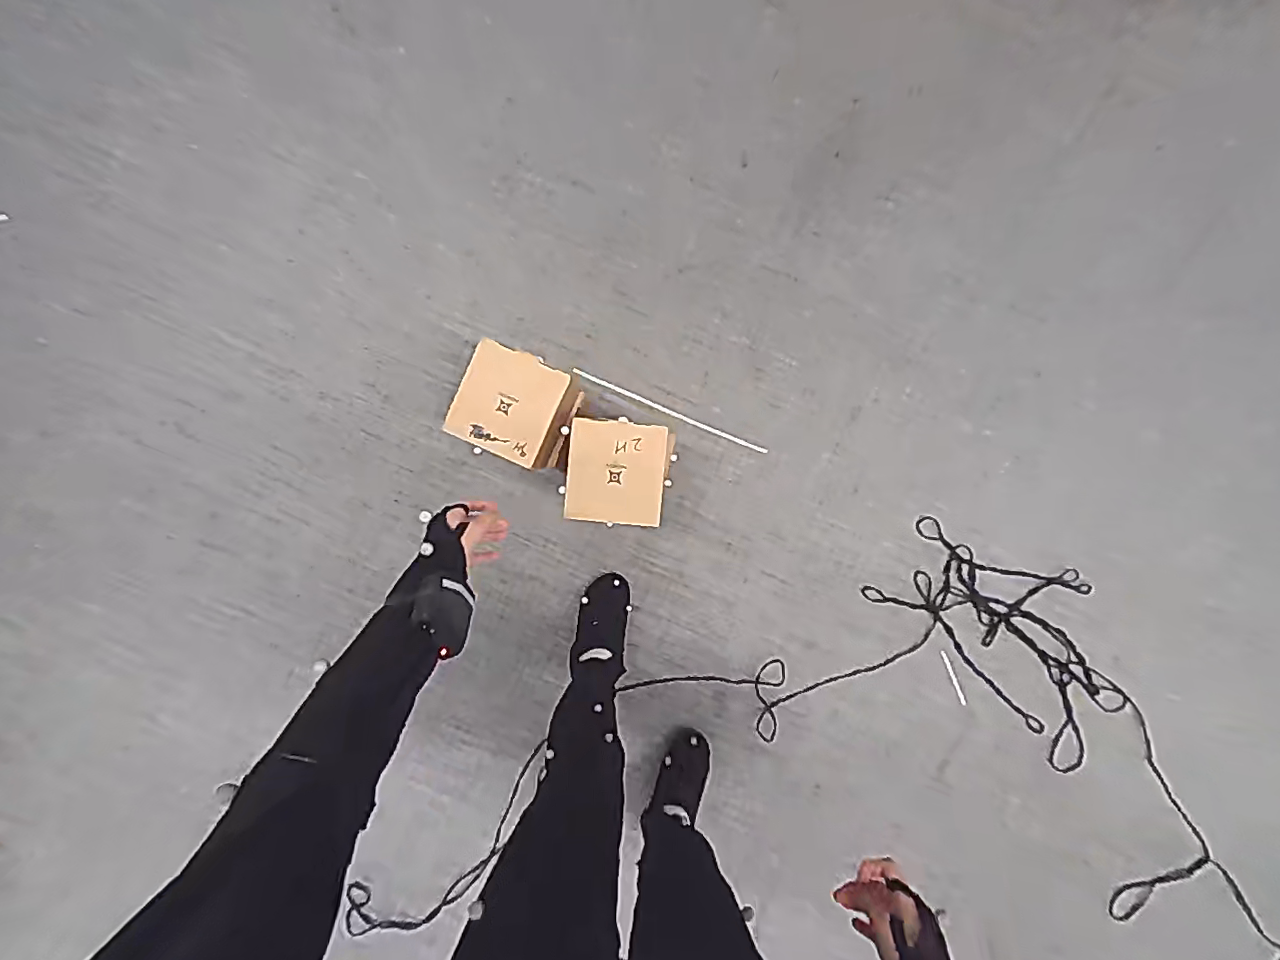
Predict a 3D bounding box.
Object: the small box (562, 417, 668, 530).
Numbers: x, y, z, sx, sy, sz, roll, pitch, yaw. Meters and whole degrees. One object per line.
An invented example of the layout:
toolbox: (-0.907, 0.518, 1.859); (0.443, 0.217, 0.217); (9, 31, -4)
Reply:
small box: (-0.042, -0.012, 0.989); (0.168, 0.176, 0.179); (6, 90, -1)

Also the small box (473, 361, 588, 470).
small box: (-0.221, -0.129, 1.146); (0.179, 0.176, 0.168); (23, 90, -1)
